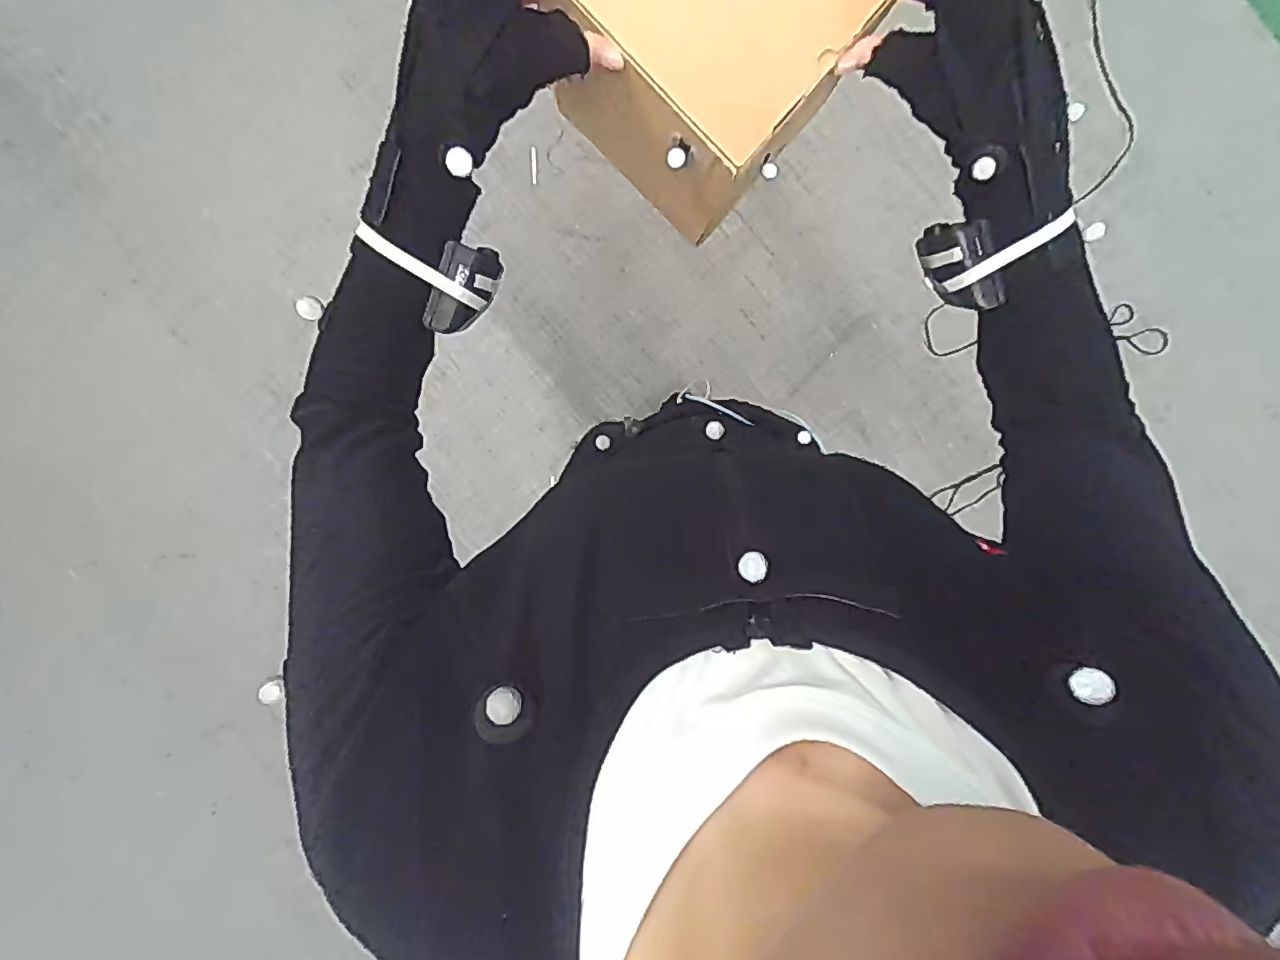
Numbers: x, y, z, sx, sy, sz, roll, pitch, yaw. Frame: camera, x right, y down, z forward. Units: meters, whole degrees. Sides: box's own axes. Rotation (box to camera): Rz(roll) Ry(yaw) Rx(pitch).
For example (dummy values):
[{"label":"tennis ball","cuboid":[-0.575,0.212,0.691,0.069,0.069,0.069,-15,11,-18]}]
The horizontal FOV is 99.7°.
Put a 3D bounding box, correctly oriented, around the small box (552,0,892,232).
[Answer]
[{"label":"small box","cuboid":[0.048,-0.324,0.406,0.179,0.176,0.168,41,94,-8]}]
